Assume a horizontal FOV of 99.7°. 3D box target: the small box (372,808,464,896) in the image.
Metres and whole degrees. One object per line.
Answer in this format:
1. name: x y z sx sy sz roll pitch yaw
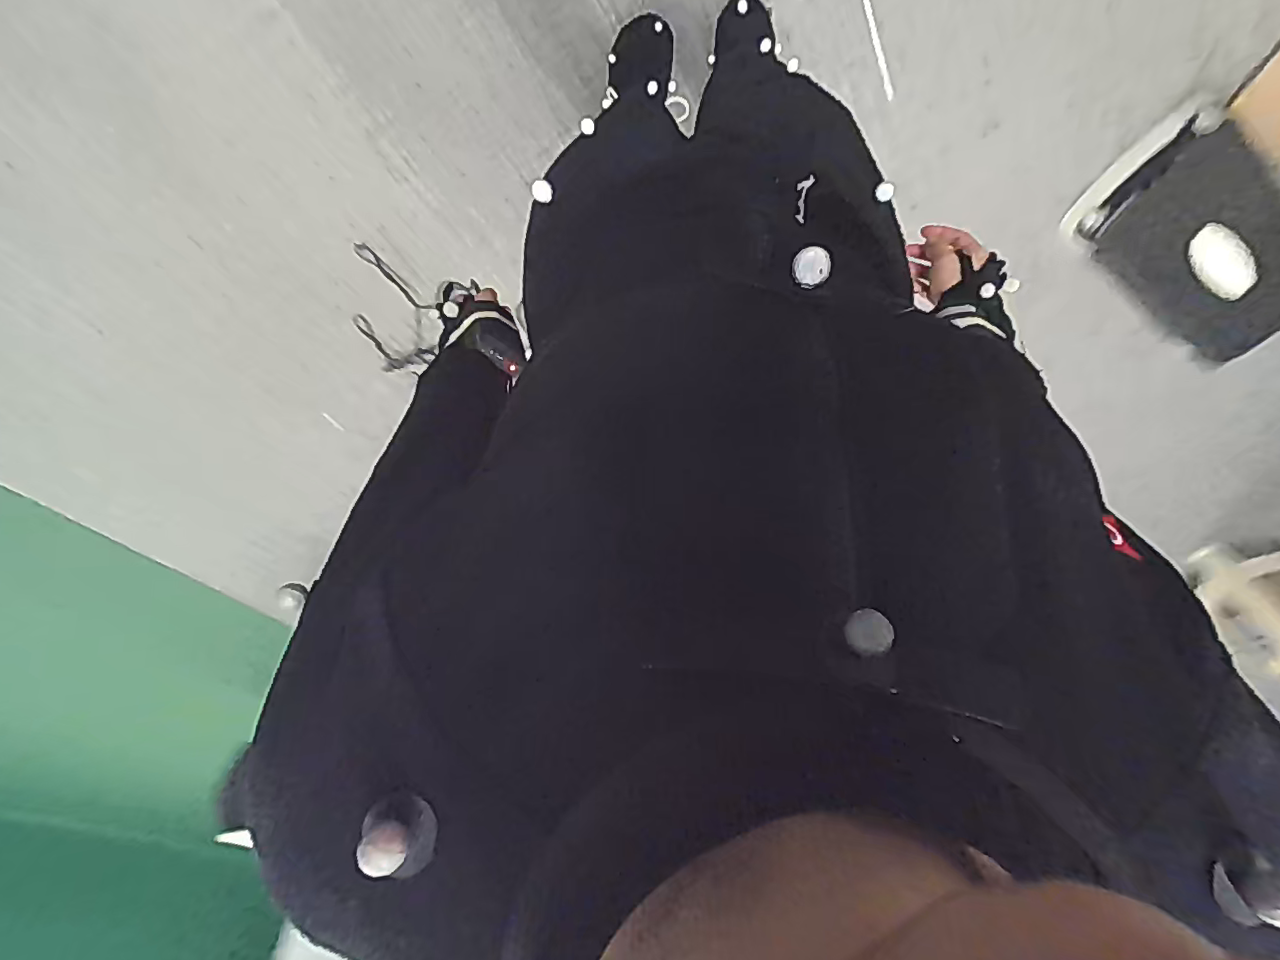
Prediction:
1. small box: -0.597 1.026 1.495 0.168 0.176 0.179 -33 128 26
